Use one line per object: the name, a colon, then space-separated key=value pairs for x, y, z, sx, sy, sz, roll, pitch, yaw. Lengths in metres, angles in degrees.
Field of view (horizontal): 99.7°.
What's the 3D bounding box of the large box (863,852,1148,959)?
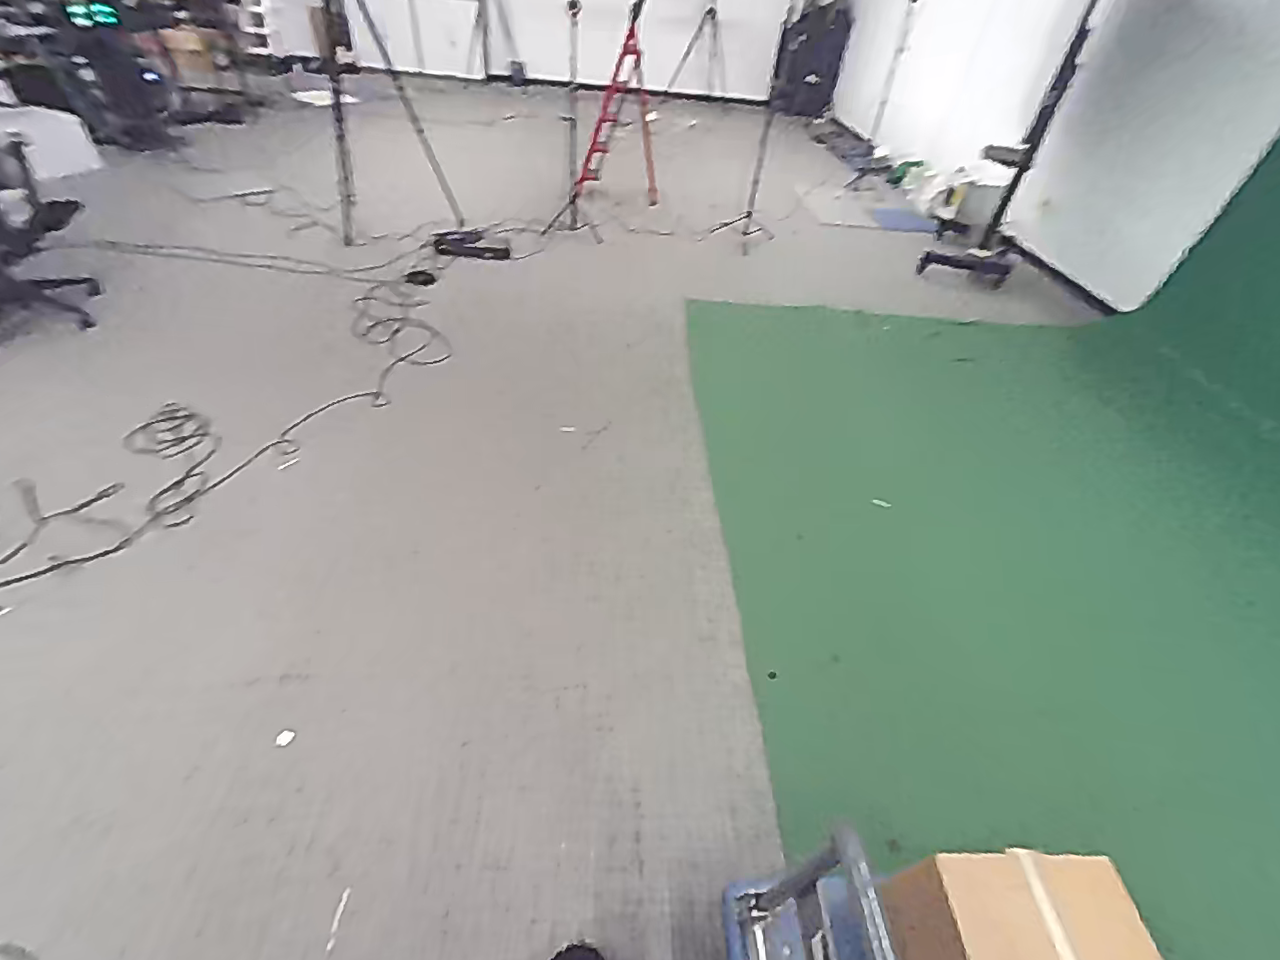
large box: x=0.625 y=0.883 z=0.891 sx=0.320 sy=0.320 sz=0.408 roll=3 pitch=44 yaw=-3
